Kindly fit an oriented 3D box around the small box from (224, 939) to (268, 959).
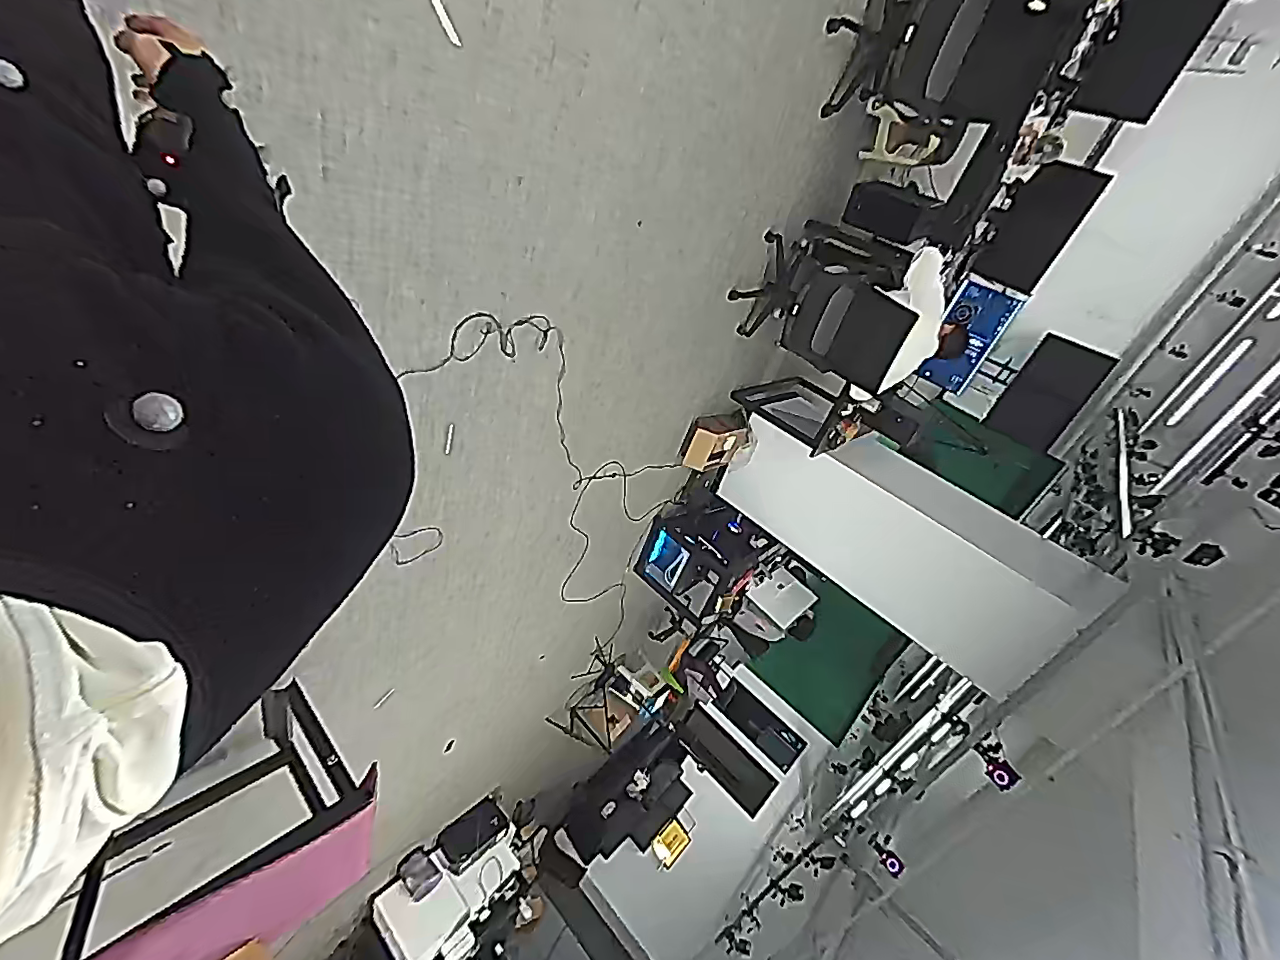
[{"bbox_3d":[-1.293,1.642,1.740,0.168,0.176,0.179,-16,136,-49],"label":"small box"}]
